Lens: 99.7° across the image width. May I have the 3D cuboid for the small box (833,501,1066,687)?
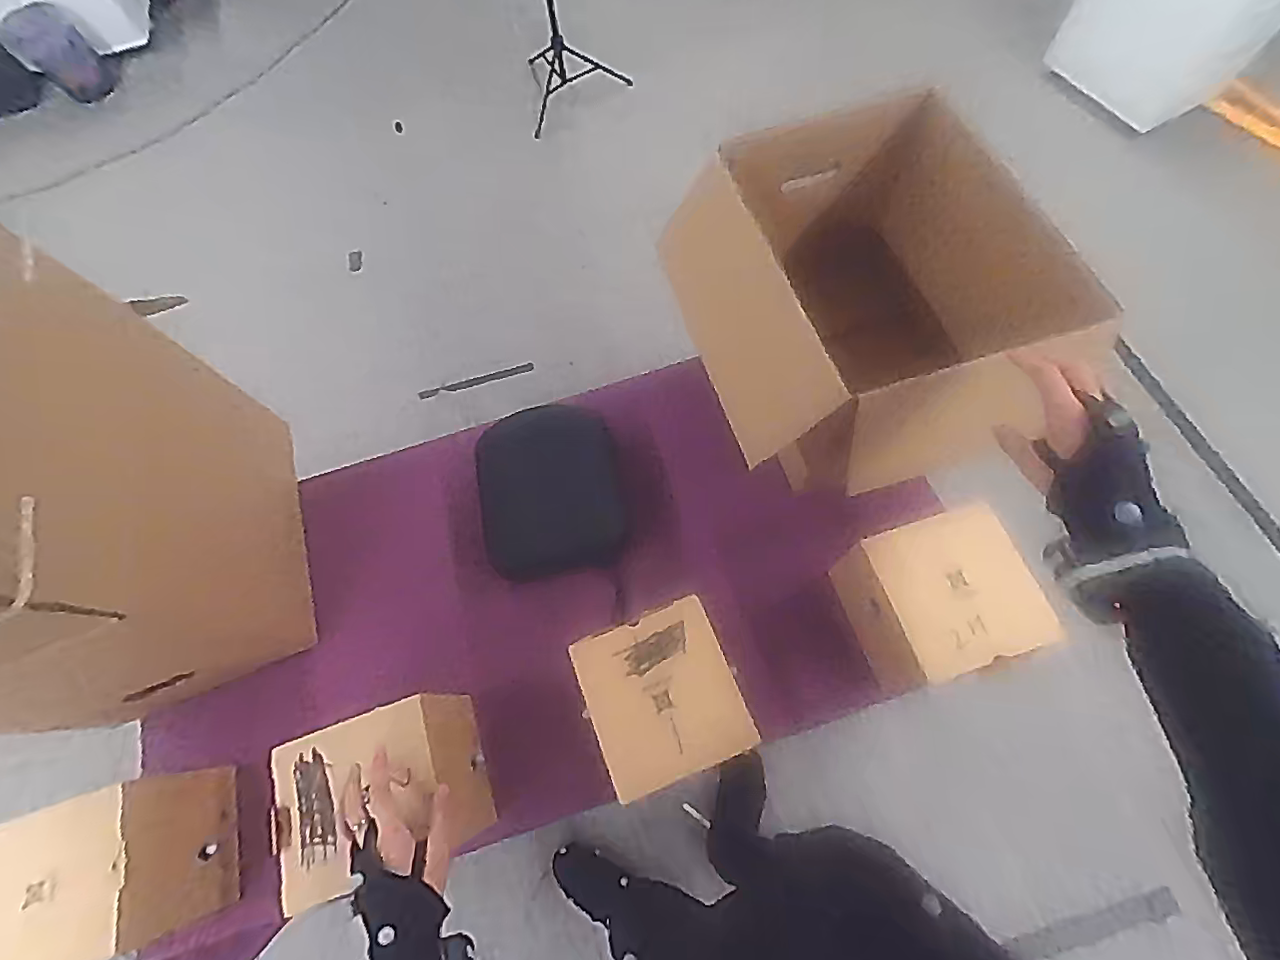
[{"bbox_3d":[0.371,0.153,0.692,0.168,0.176,0.179,-18,67,-1],"label":"small box"}]

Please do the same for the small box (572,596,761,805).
[{"bbox_3d":[0.030,0.269,0.675,0.168,0.176,0.179,-22,68,-4],"label":"small box"}]

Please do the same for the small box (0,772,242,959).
[{"bbox_3d":[-0.623,0.470,0.645,0.179,0.176,0.168,-19,67,-4],"label":"small box"}]
